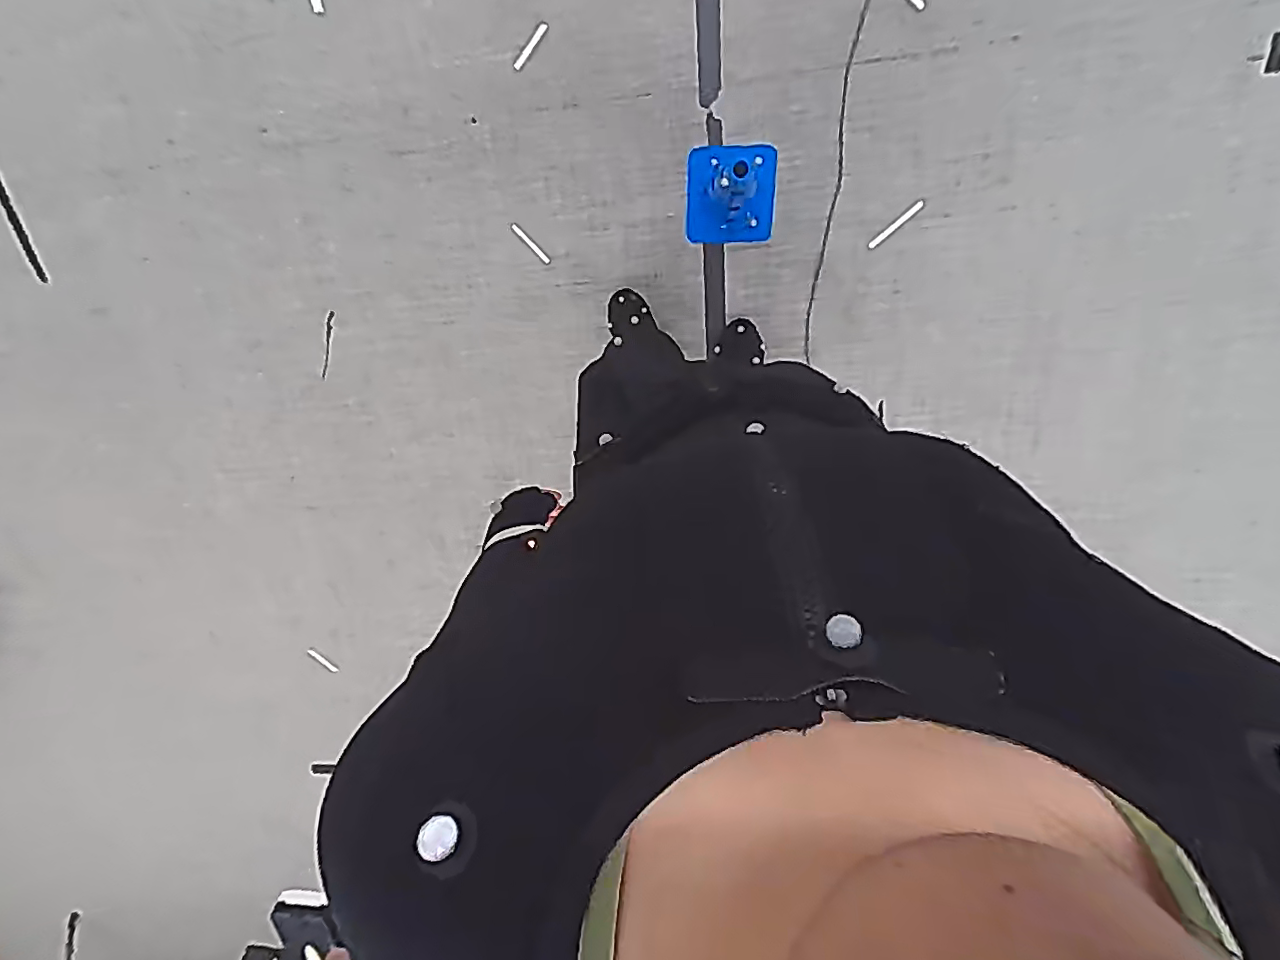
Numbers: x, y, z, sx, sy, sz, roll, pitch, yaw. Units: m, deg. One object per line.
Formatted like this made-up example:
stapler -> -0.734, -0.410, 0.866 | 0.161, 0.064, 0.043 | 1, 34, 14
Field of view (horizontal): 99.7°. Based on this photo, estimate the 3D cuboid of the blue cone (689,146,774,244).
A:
blue cone -> 0.193, -0.586, 1.073 | 0.193, 0.380, 0.192 | 0, 111, 5
